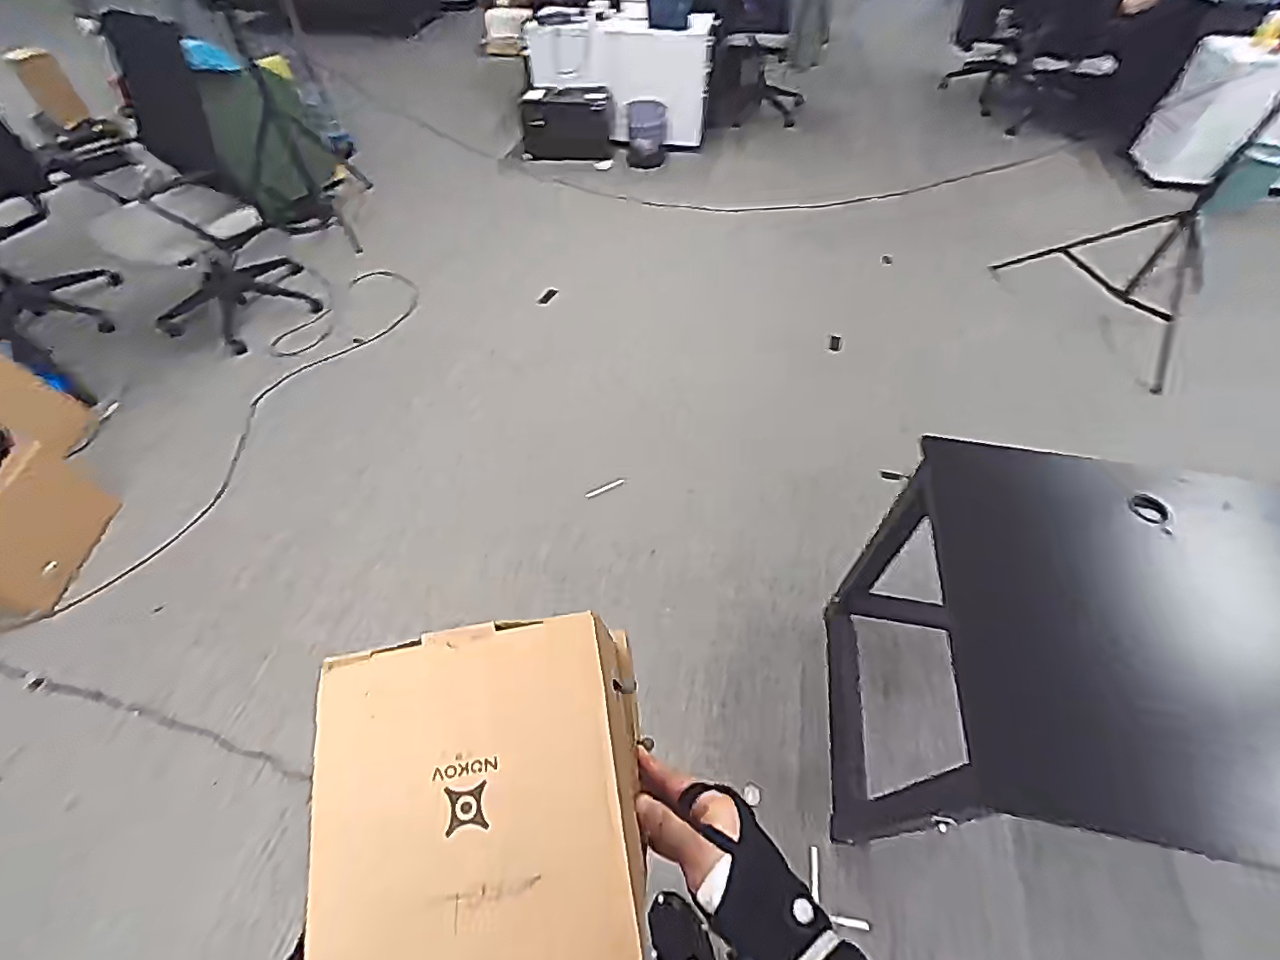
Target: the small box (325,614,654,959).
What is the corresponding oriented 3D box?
[{"bbox_3d":[-0.086,0.205,0.374,0.168,0.176,0.179,-10,68,-2],"label":"small box"}]
